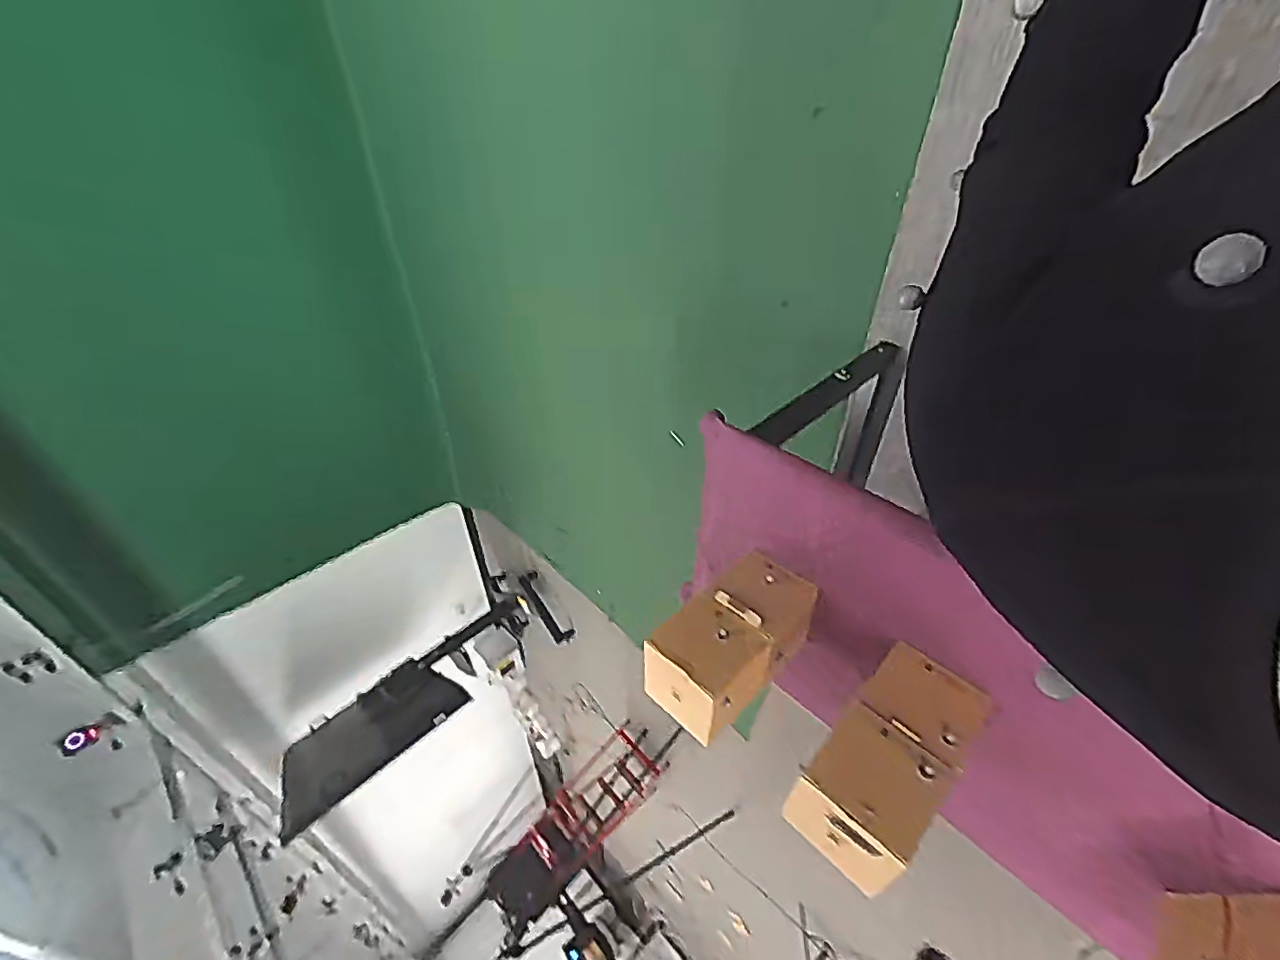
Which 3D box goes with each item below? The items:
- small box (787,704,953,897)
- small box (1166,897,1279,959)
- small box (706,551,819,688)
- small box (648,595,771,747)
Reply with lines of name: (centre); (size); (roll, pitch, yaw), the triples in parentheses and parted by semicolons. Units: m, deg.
small box: (0.361, 0.495, 0.853); (0.168, 0.176, 0.179); (33, 141, 33)
small box: (0.817, 0.670, 0.683); (0.168, 0.176, 0.179); (46, 145, 18)
small box: (0.249, 0.283, 1.123); (0.168, 0.176, 0.179); (30, 137, 34)
small box: (0.132, 0.359, 1.037); (0.168, 0.176, 0.179); (31, 137, 34)
